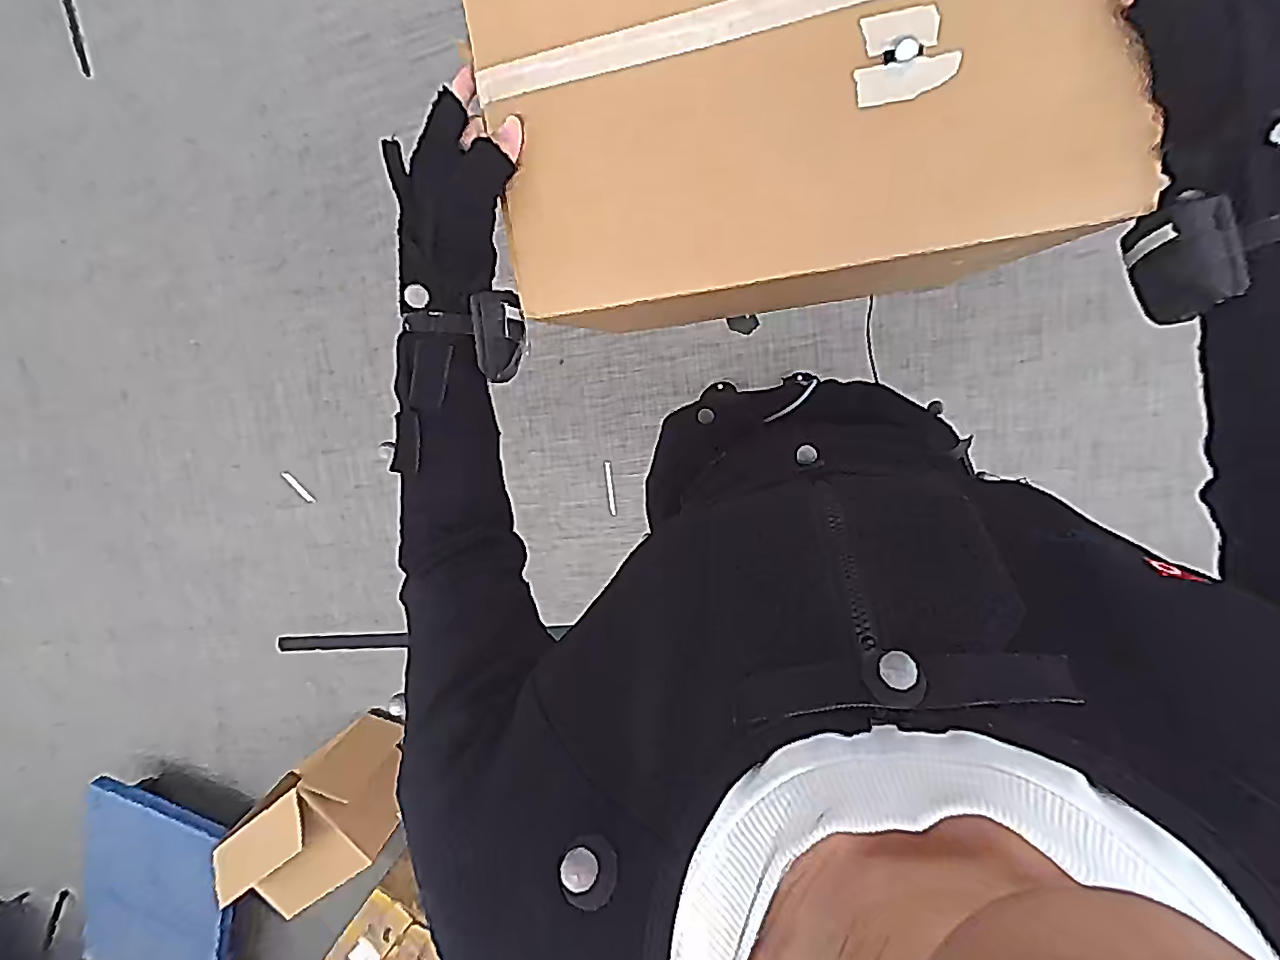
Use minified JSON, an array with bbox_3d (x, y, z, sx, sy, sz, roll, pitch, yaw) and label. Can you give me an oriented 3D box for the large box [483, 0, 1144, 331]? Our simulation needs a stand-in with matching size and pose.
[{"bbox_3d":[0.116,-0.330,0.487,0.408,0.320,0.320,-6,102,11],"label":"large box"}]
